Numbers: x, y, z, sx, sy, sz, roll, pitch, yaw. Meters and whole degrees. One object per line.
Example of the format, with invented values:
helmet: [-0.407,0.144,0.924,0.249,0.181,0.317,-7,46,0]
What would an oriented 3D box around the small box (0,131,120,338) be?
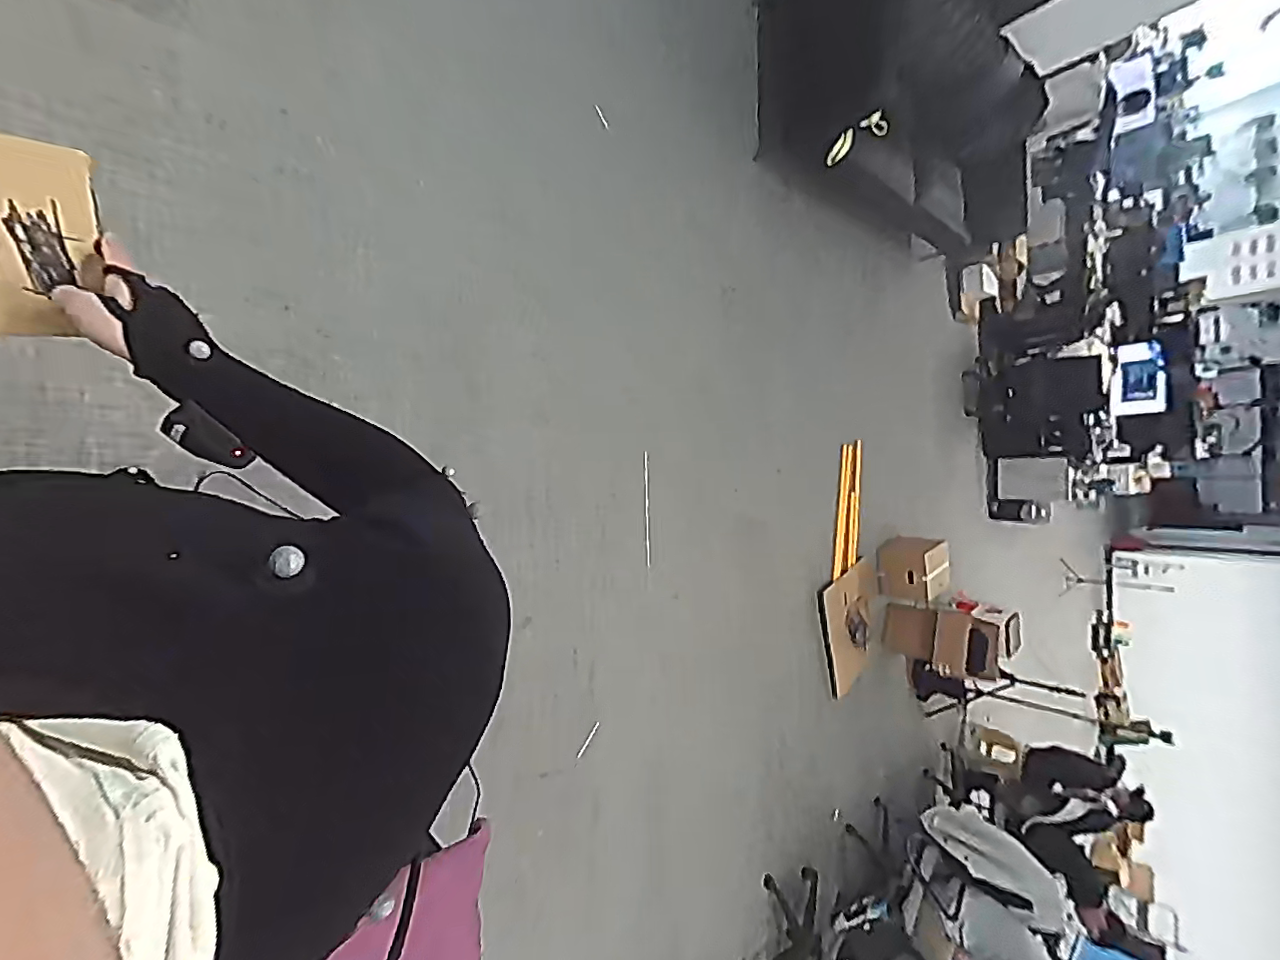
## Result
small box: [-0.613,-0.226,0.494,0.179,0.176,0.168,-10,112,-44]
